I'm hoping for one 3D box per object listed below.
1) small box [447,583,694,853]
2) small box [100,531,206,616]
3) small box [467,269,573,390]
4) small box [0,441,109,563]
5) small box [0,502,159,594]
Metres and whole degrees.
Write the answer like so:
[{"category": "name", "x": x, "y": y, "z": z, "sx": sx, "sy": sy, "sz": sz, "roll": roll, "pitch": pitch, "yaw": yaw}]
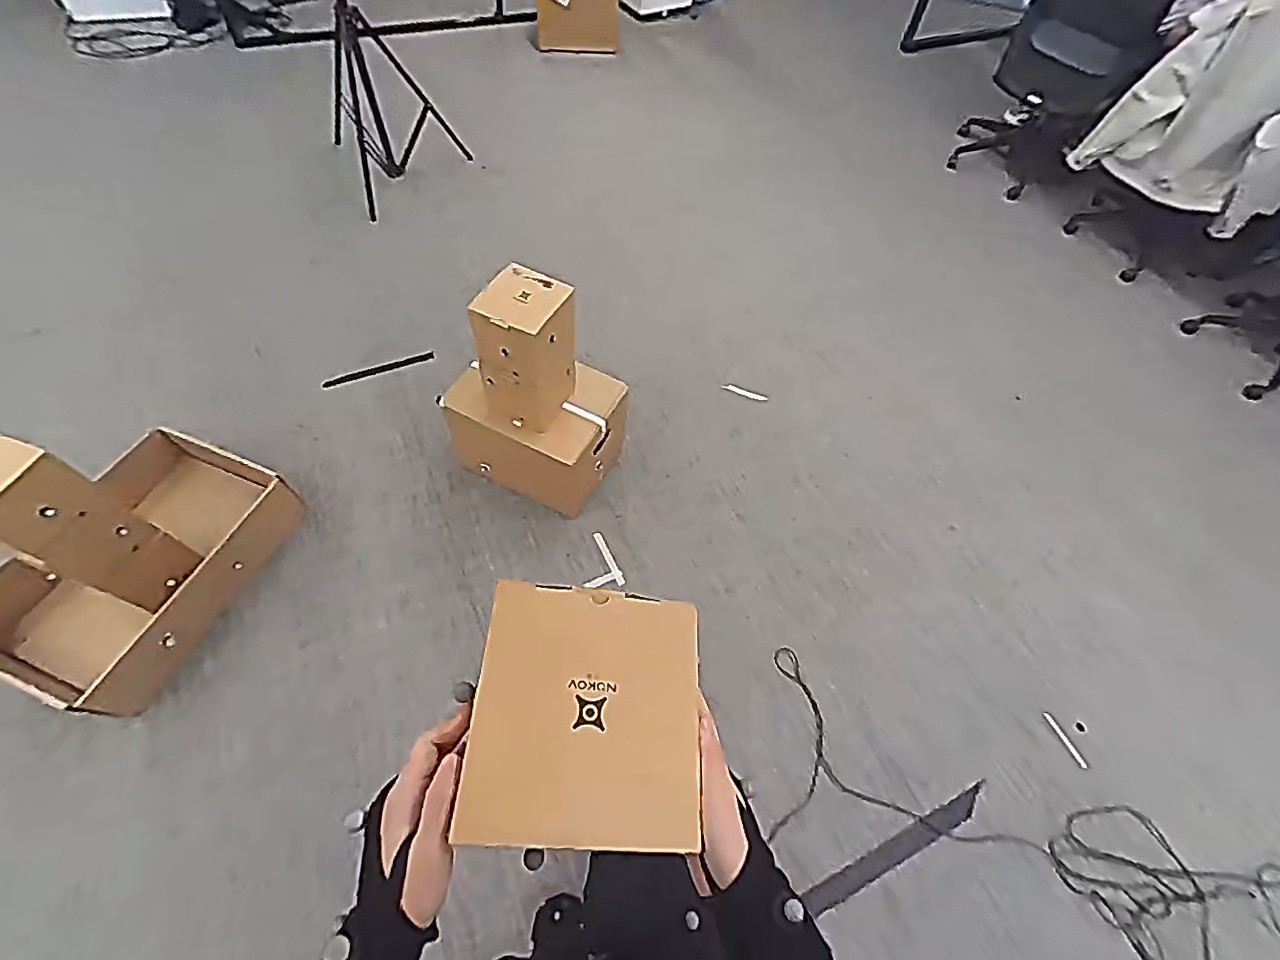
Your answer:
[{"category": "small box", "x": -0.057, "y": 0.208, "z": 0.462, "sx": 0.168, "sy": 0.176, "sz": 0.179, "roll": 9, "pitch": 56, "yaw": -11}, {"category": "small box", "x": -1.228, "y": 0.210, "z": 1.313, "sx": 0.179, "sy": 0.176, "sz": 0.168, "roll": 21, "pitch": 60, "yaw": 6}, {"category": "small box", "x": -0.261, "y": -0.337, "z": 1.229, "sx": 0.168, "sy": 0.176, "sz": 0.179, "roll": 25, "pitch": 61, "yaw": 9}, {"category": "small box", "x": -1.203, "y": 0.041, "z": 1.034, "sx": 0.179, "sy": 0.176, "sz": 0.168, "roll": 17, "pitch": 57, "yaw": 4}, {"category": "small box", "x": -1.219, "y": 0.130, "z": 1.172, "sx": 0.179, "sy": 0.176, "sz": 0.168, "roll": 16, "pitch": 58, "yaw": 6}]
